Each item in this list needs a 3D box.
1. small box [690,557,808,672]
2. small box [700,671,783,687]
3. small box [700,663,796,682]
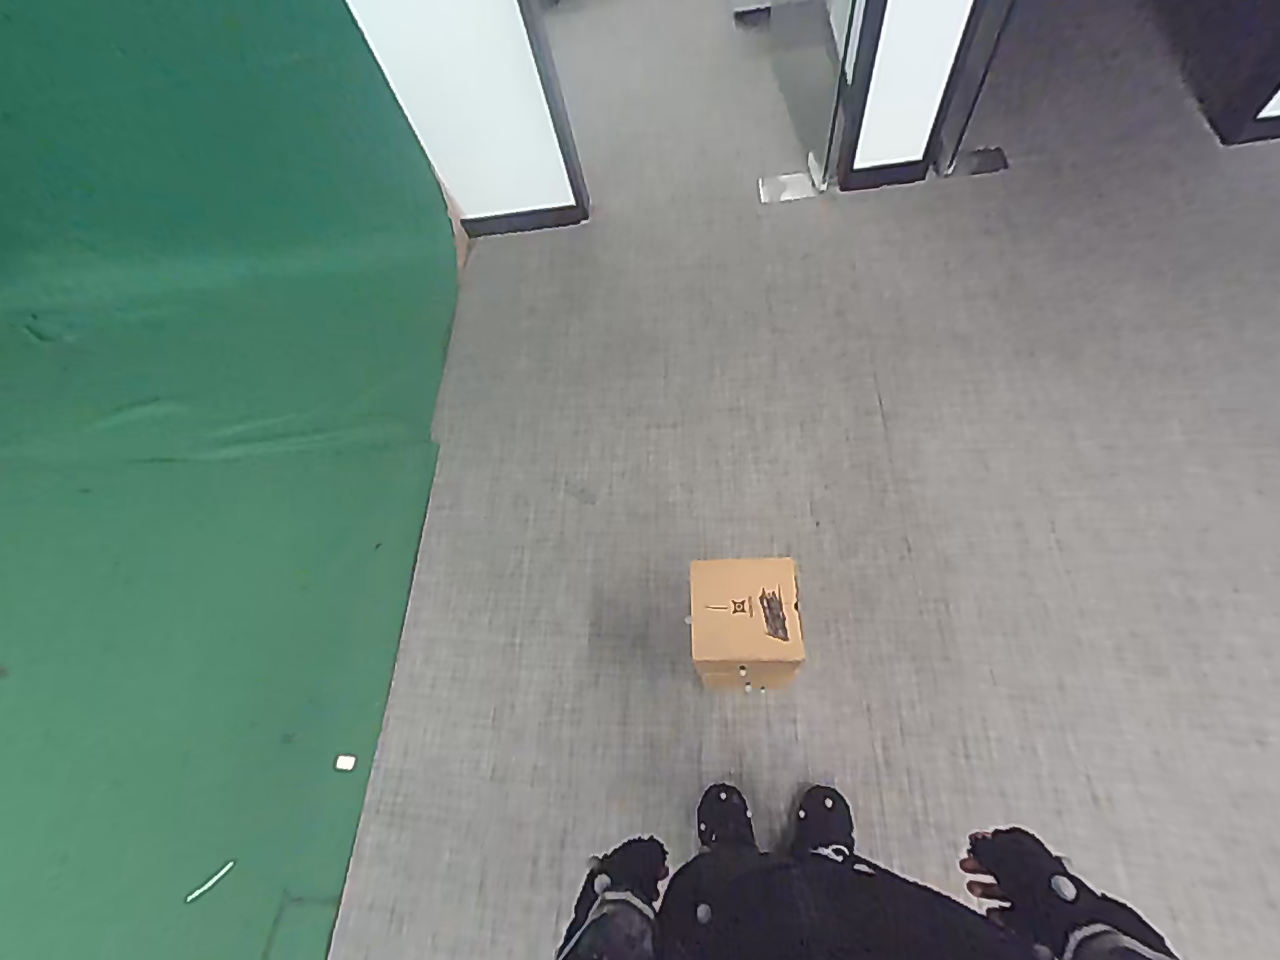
[{"bbox_3d":[0.182,0.241,0.952,0.179,0.176,0.168,-5,64,6],"label":"small box"},{"bbox_3d":[0.229,0.381,1.245,0.179,0.176,0.168,-4,63,10],"label":"small box"},{"bbox_3d":[0.210,0.314,1.097,0.179,0.176,0.168,-3,64,8],"label":"small box"}]
